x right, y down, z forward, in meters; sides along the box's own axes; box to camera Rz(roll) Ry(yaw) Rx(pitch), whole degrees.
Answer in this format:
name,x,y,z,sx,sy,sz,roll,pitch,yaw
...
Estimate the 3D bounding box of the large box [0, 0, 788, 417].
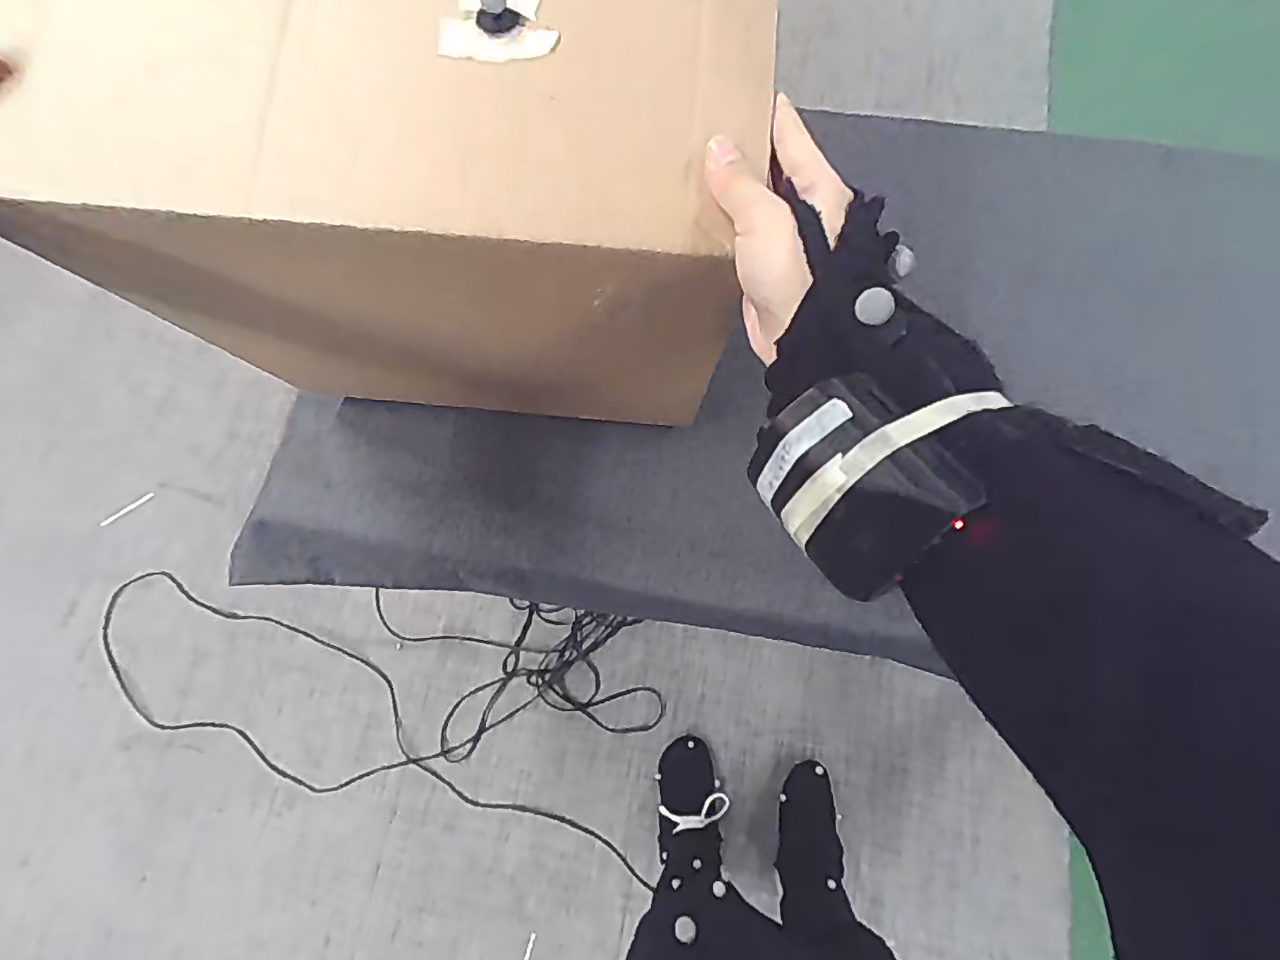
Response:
name,x,y,z,sx,sy,sz,roll,pitch,yaw
large box,-0.123,-0.249,0.433,0.408,0.320,0.320,5,82,-1
